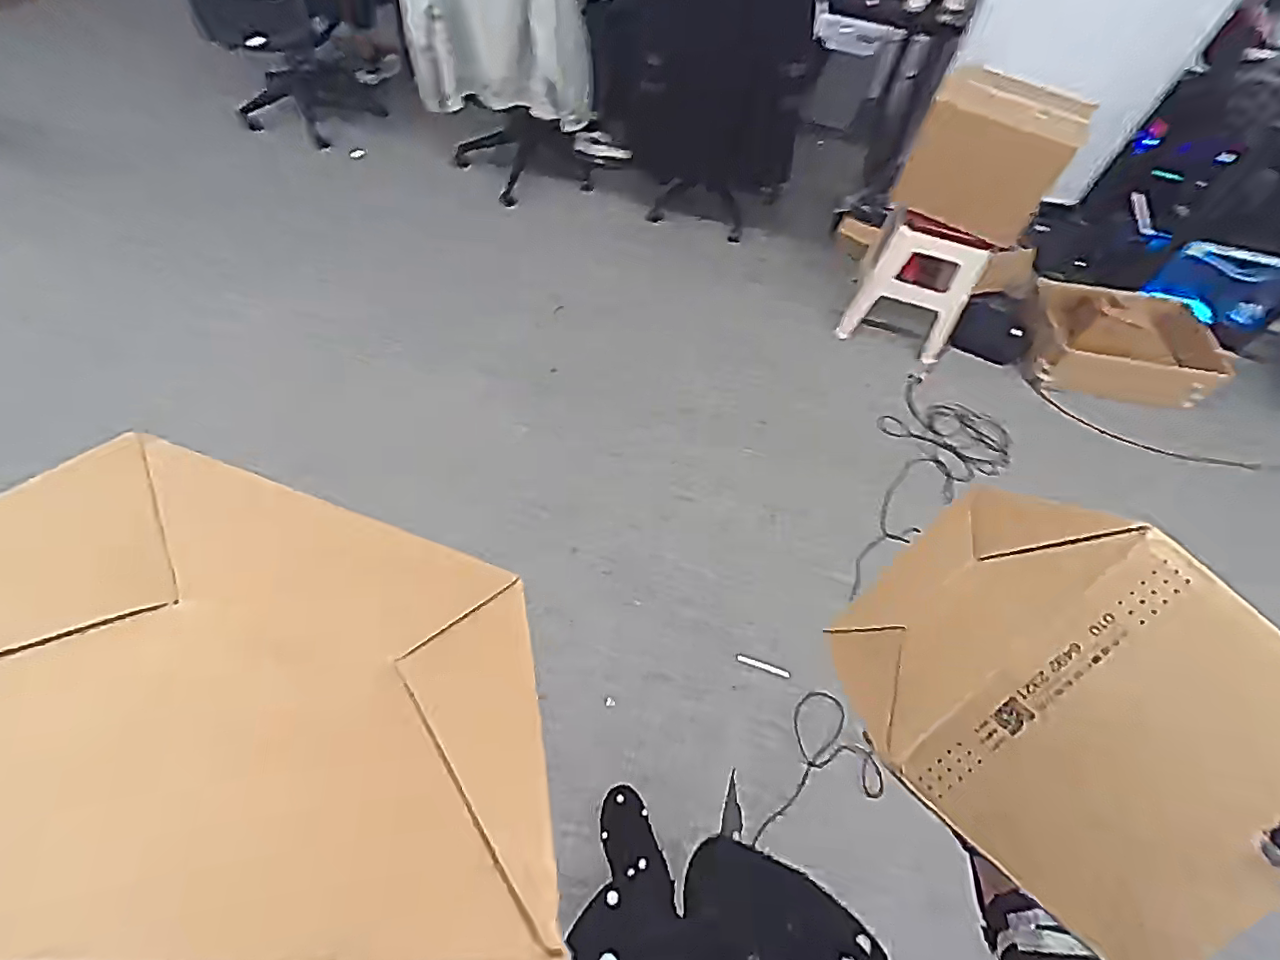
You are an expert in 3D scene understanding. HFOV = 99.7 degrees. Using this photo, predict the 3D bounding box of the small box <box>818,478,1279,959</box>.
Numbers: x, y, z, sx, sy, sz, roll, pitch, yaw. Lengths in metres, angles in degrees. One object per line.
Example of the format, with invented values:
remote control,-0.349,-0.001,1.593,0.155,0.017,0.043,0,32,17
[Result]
small box,0.236,0.114,0.330,0.176,0.179,0.168,39,100,1
